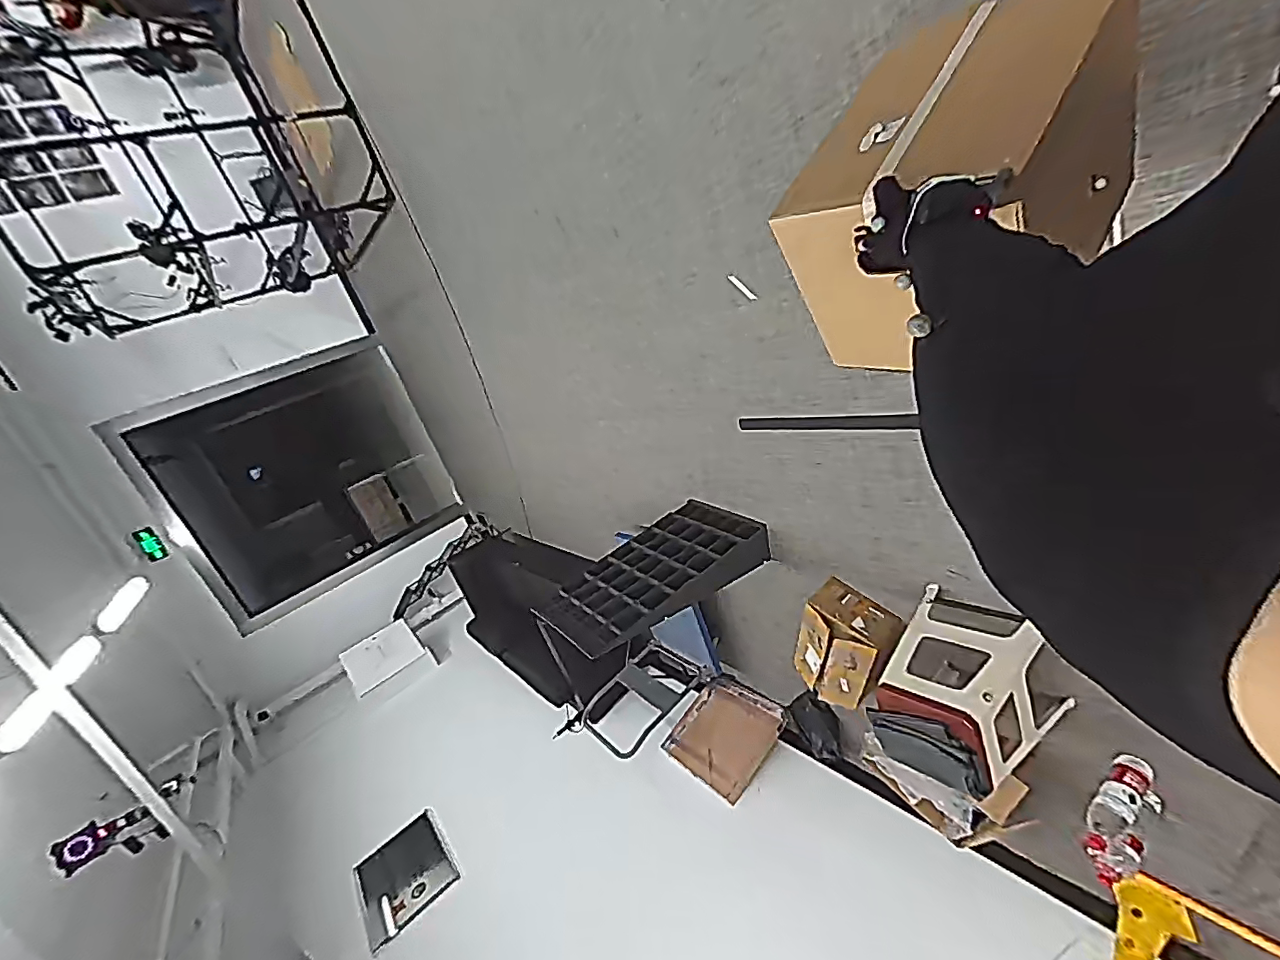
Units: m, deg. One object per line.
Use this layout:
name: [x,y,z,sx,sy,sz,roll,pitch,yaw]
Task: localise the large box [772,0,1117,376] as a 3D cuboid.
large box: [0.470,-0.415,0.816,0.320,0.408,0.320,16,159,48]
